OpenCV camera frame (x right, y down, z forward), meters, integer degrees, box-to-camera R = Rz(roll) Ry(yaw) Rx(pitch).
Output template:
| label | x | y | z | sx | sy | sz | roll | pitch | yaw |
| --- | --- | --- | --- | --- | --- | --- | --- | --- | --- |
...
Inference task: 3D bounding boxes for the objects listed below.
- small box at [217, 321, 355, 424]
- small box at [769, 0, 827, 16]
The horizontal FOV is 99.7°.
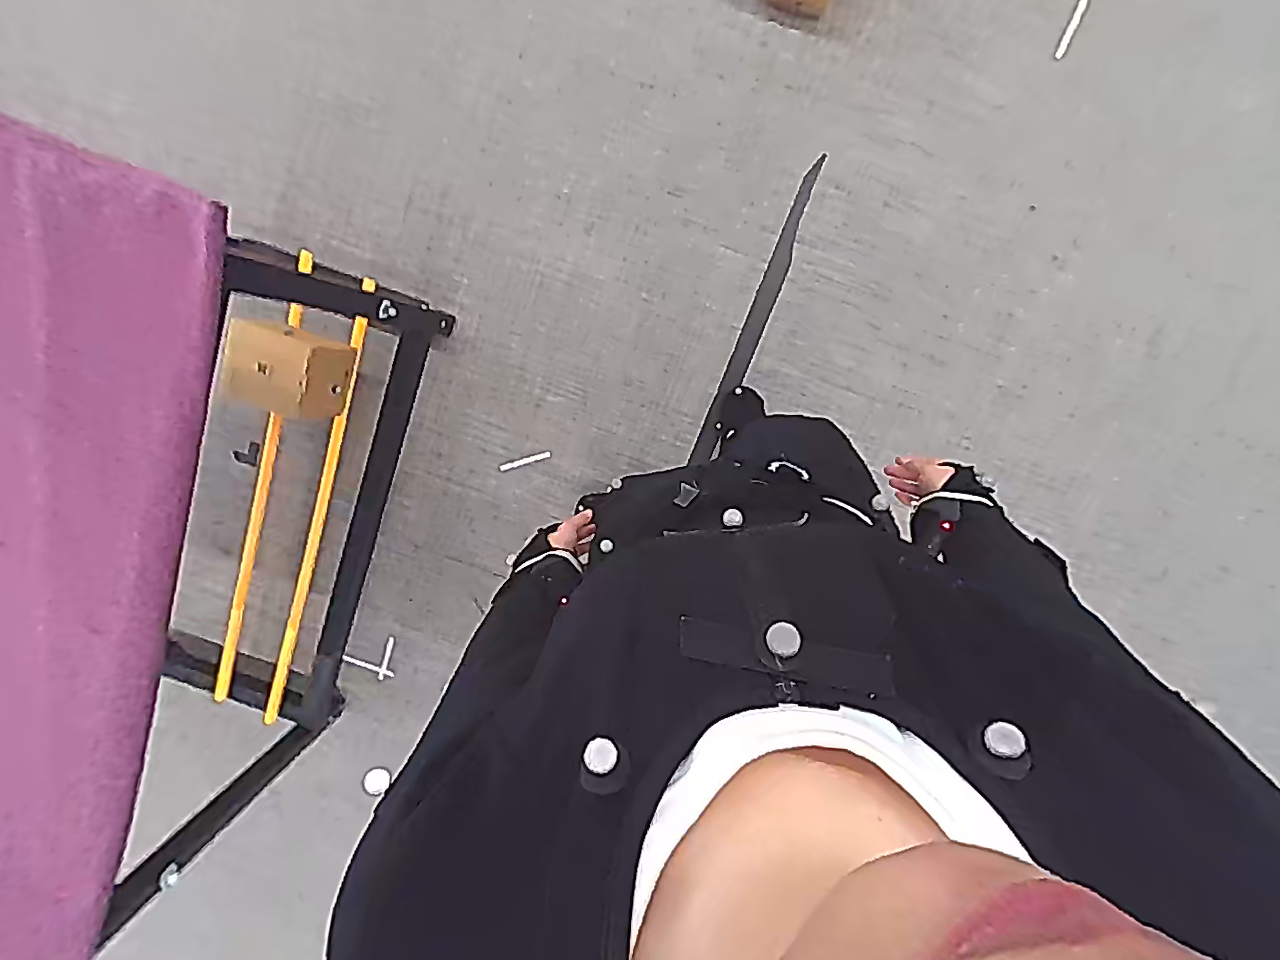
| label | x | y | z | sx | sy | sz | roll | pitch | yaw |
| --- | --- | --- | --- | --- | --- | --- | --- | --- | --- |
| small box | -0.768 | -0.233 | 1.187 | 0.179 | 0.176 | 0.168 | 19 | 102 | -1 |
| small box | 0.335 | -1.090 | 1.072 | 0.168 | 0.176 | 0.179 | 19 | 101 | 1 |
